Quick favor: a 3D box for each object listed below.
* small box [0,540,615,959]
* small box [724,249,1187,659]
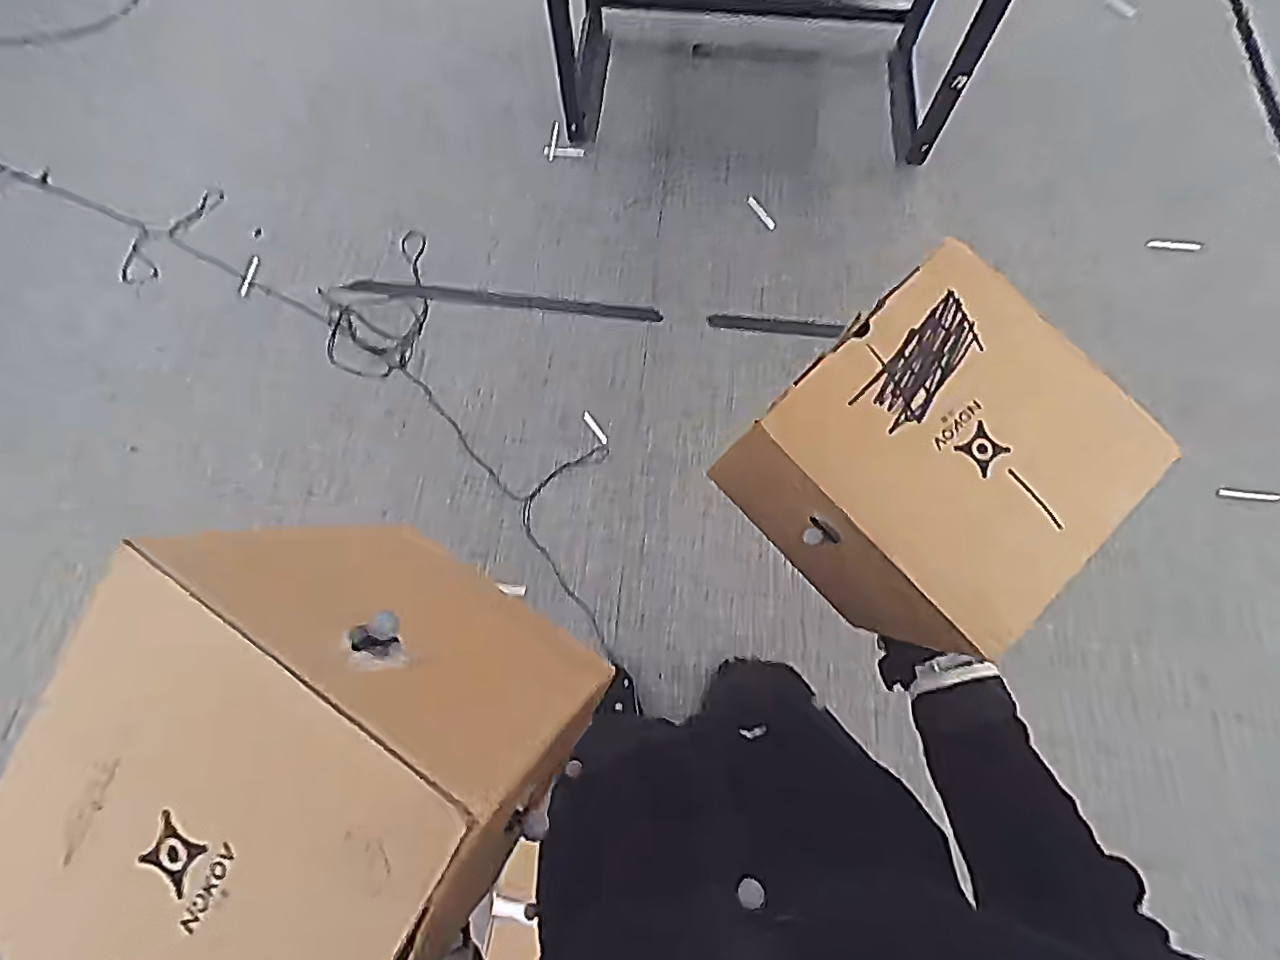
[{"bbox_3d":[-0.136,0.140,0.277,0.179,0.176,0.168,31,93,13],"label":"small box"},{"bbox_3d":[0.182,-0.008,0.373,0.168,0.176,0.179,-43,86,-8],"label":"small box"}]
